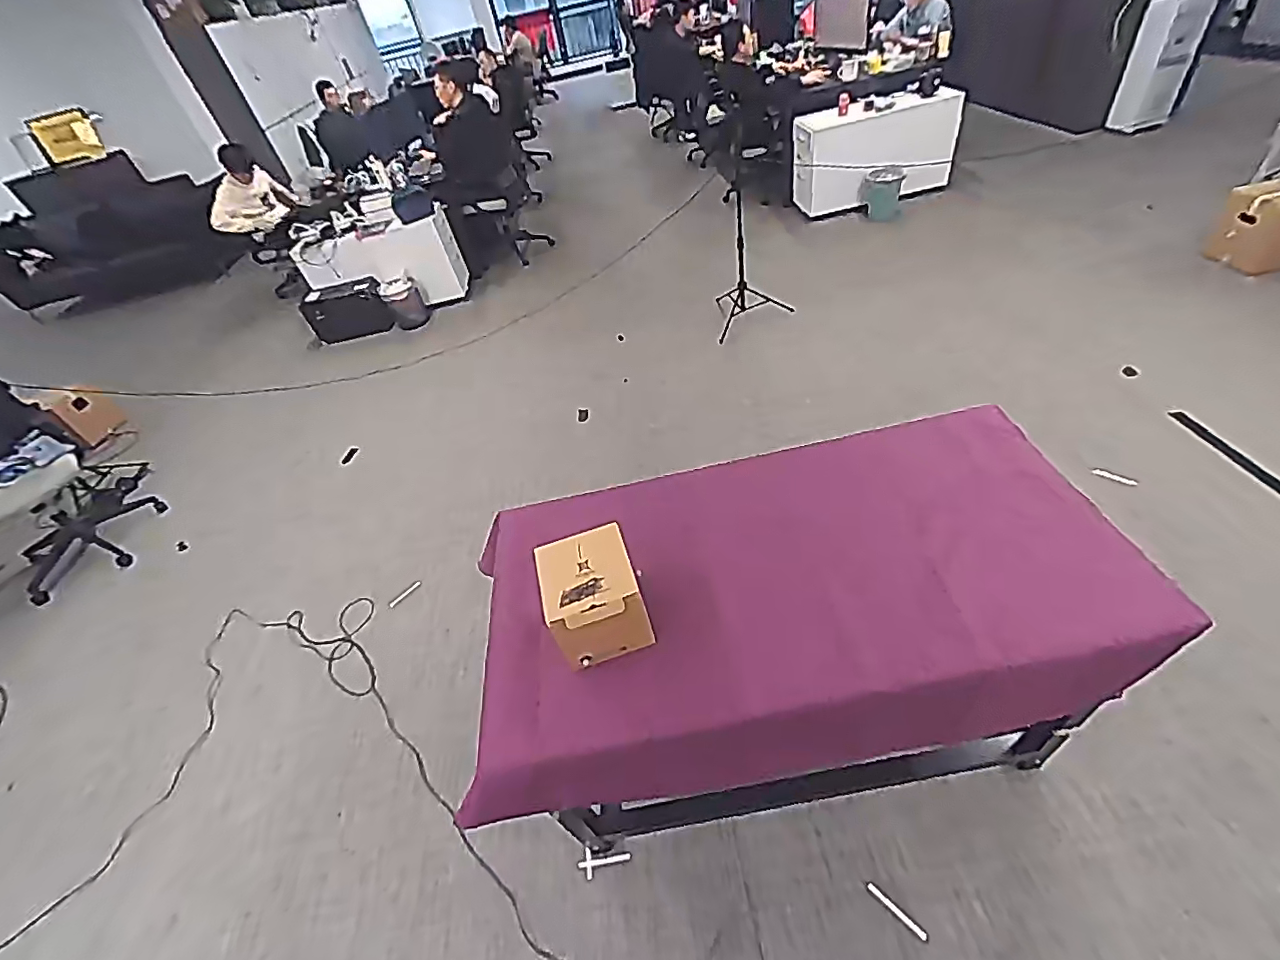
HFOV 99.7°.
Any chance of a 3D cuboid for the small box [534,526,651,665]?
[{"bbox_3d":[-0.087,0.222,1.012,0.168,0.176,0.179,-18,43,-4],"label":"small box"}]
